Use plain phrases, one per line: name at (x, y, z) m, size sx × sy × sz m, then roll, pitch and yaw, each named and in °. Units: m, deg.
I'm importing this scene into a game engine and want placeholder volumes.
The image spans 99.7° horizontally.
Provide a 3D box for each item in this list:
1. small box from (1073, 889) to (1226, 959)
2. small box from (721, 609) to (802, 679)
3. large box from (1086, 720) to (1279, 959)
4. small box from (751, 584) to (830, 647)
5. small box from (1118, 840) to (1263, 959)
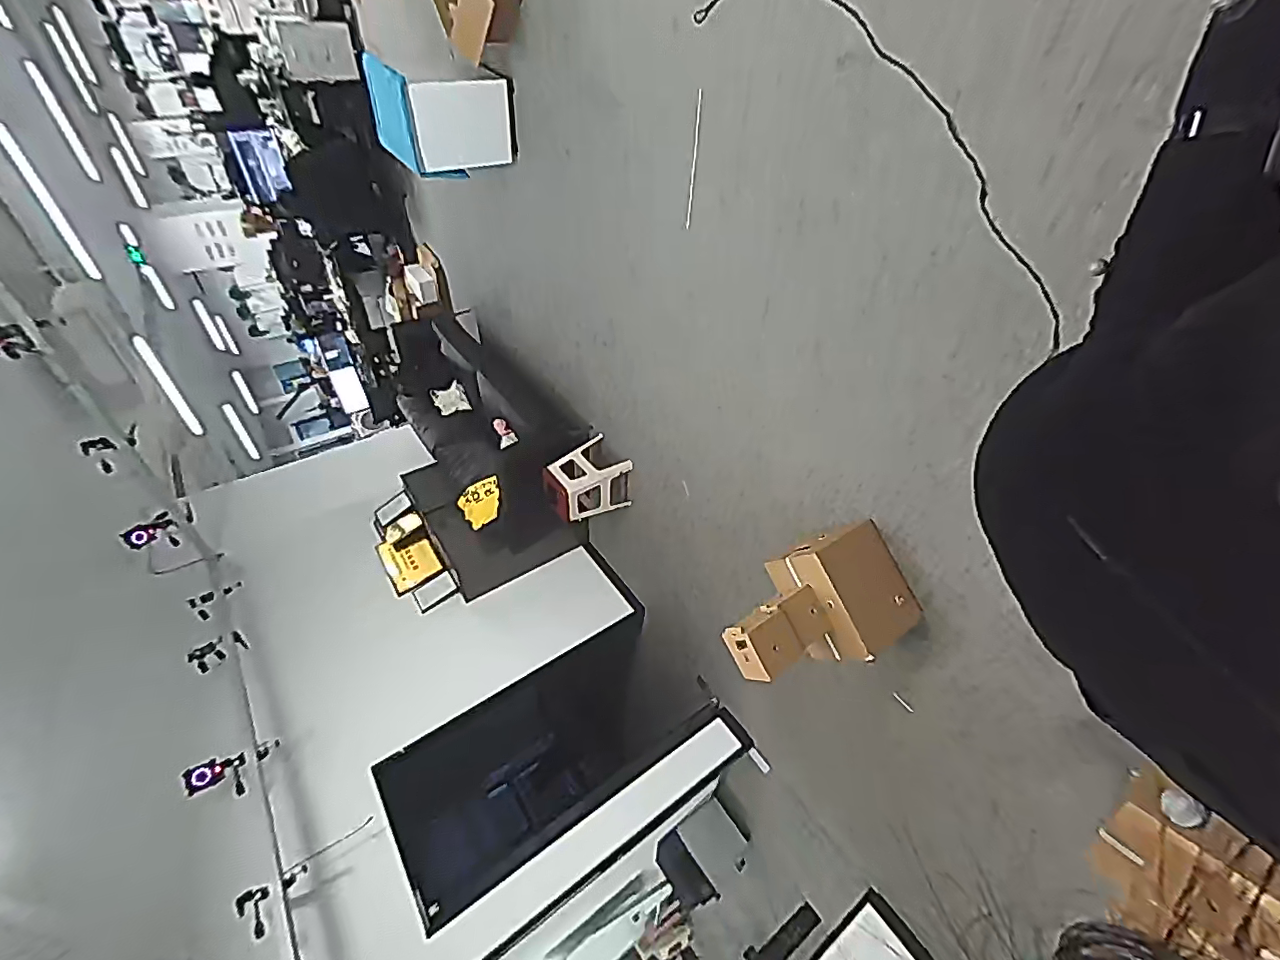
small box at (1.049, 0.996, 1.104) m, size 0.179 × 0.176 × 0.168 m, roll 40°, pitch 144°, yaw 41°
small box at (0.416, 0.553, 1.850) m, size 0.179 × 0.176 × 0.168 m, roll 62°, pitch 153°, yaw 4°
large box at (1.398, 0.875, 1.282) m, size 0.408 × 0.320 × 0.320 m, roll 32°, pitch 139°, yaw 45°
small box at (0.540, 0.488, 1.940) m, size 0.179 × 0.176 × 0.168 m, roll 62°, pitch 154°, yaw 8°
small box at (1.182, 0.931, 1.171) m, size 0.168 × 0.176 × 0.179 m, roll 39°, pitch 143°, yaw 41°
